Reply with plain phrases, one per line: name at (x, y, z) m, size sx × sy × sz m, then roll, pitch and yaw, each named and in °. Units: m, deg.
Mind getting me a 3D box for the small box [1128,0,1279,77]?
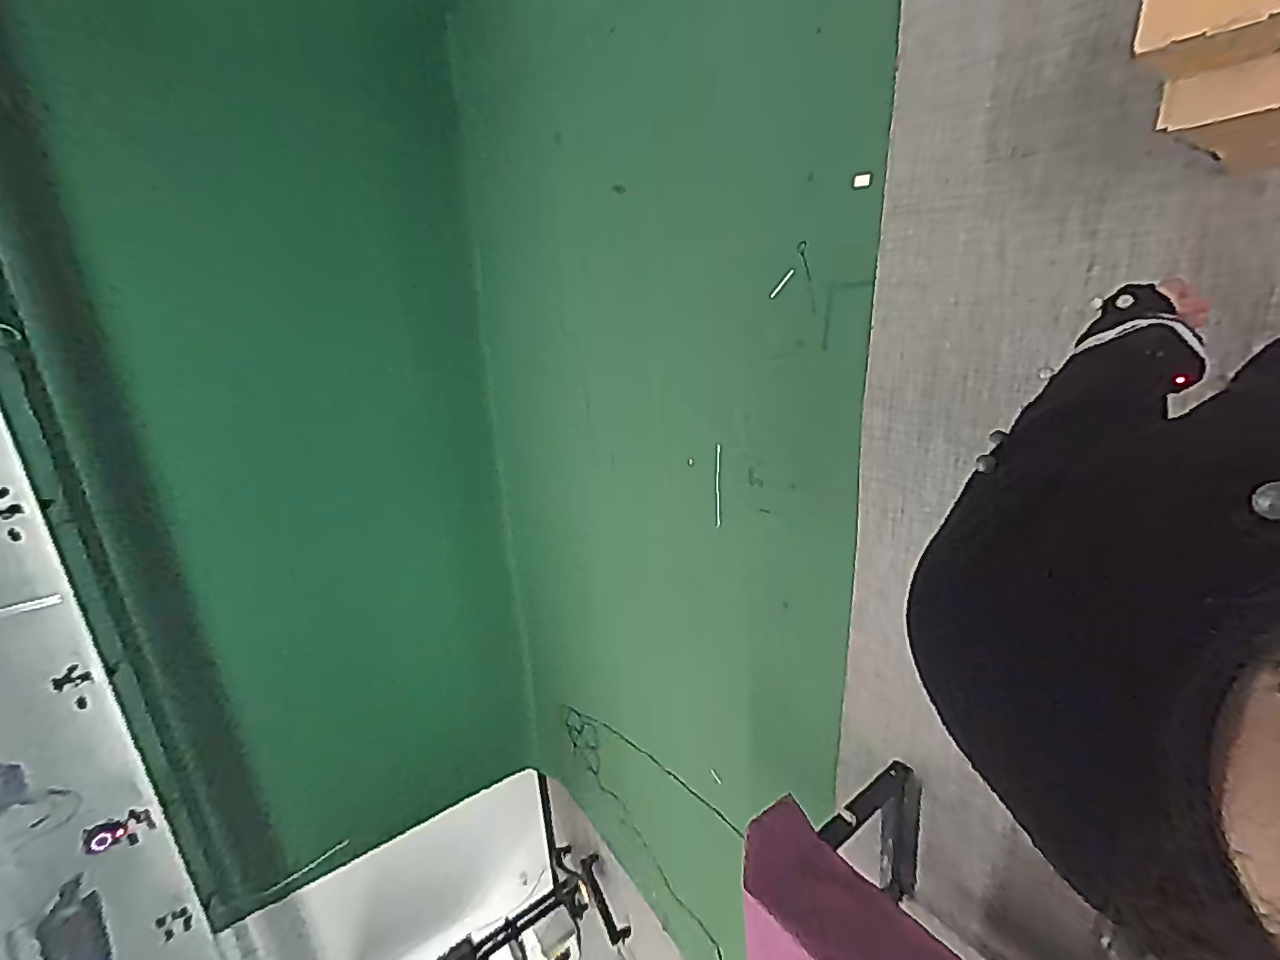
small box at (0.673, -0.563, 0.580) m, size 0.168 × 0.176 × 0.179 m, roll 21°, pitch 120°, yaw 49°
